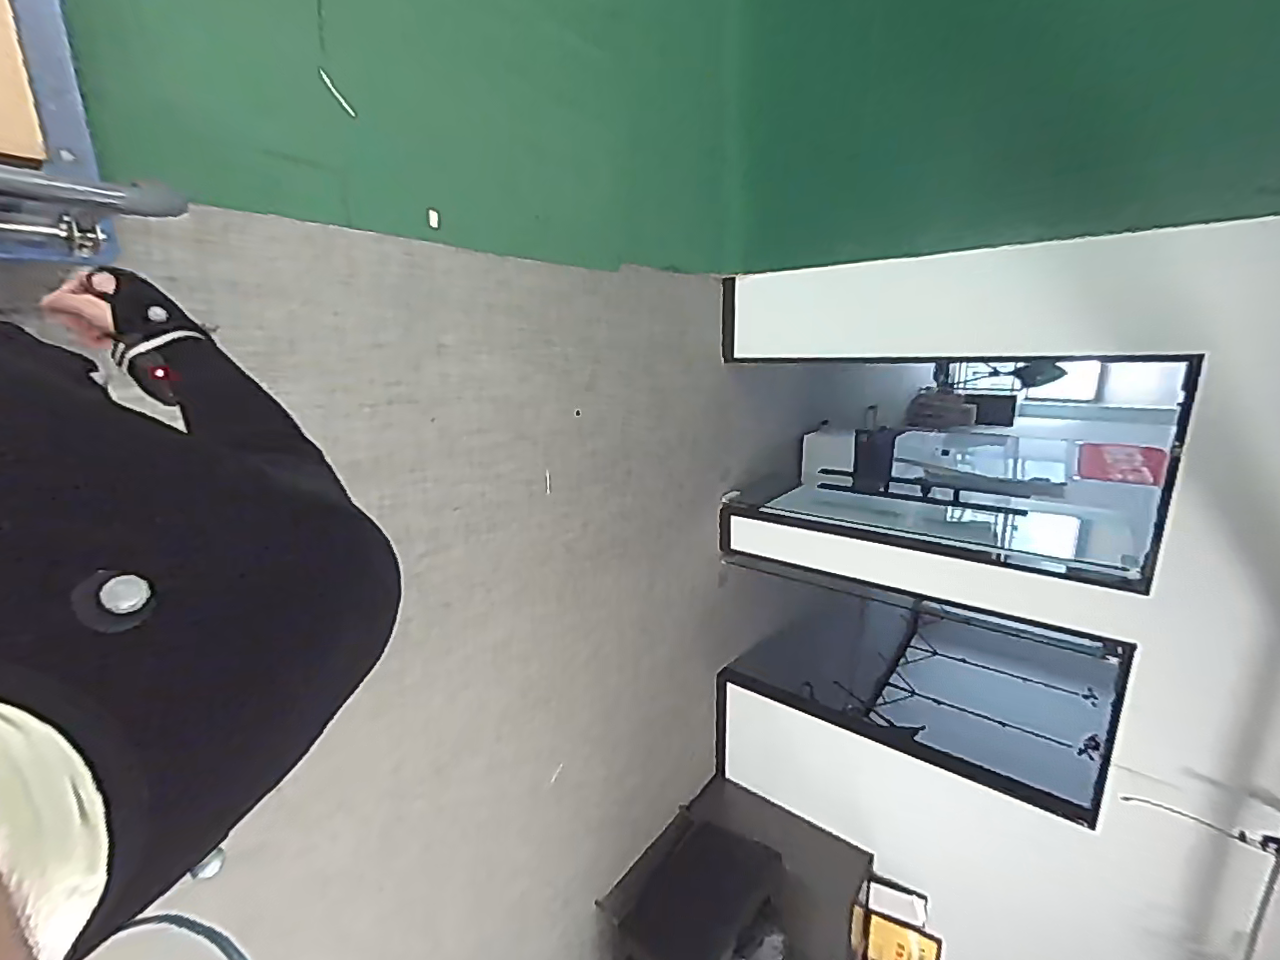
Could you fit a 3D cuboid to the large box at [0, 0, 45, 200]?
[{"bbox_3d":[-1.074,-0.634,0.707,0.320,0.320,0.408,-19,111,-50],"label":"large box"}]
